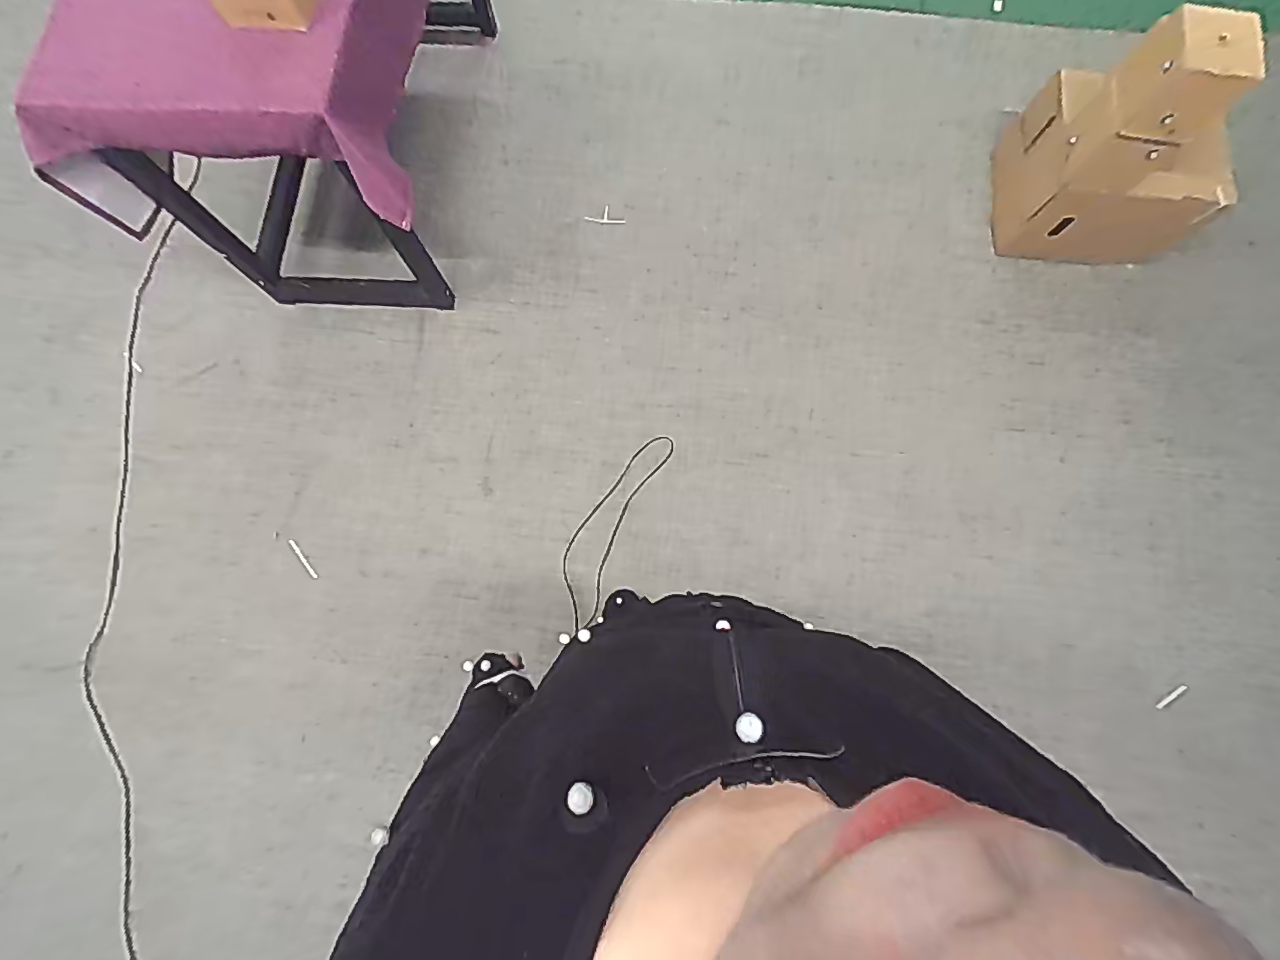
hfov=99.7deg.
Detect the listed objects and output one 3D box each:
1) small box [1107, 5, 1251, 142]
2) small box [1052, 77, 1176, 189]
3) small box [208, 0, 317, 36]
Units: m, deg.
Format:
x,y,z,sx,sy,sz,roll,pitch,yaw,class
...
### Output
x,y,z,sx,sy,sz,roll,pitch,yaw,class
1.213,-0.918,1.231,0.168,0.176,0.179,9,78,1,small box
1.210,-0.884,1.391,0.179,0.176,0.168,8,77,2,small box
-0.729,-0.978,1.008,0.168,0.176,0.179,6,76,2,small box
